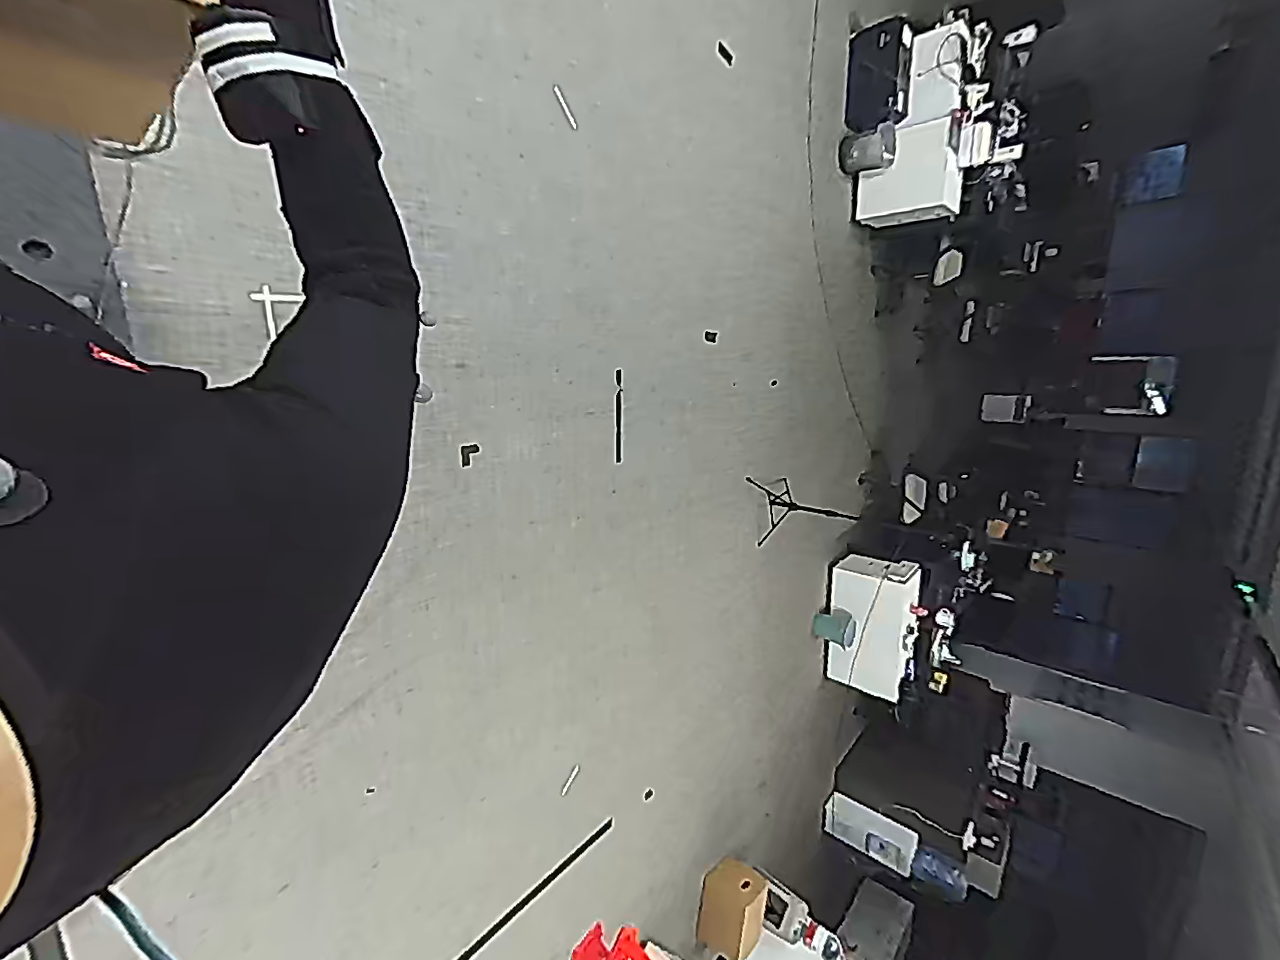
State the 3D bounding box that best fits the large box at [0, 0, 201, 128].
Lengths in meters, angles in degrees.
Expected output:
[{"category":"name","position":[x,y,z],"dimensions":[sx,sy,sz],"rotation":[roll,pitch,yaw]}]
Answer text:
[{"category":"large box","position":[-0.527,-0.436,0.264],"dimensions":[0.408,0.320,0.320],"rotation":[-17,110,-48]}]
